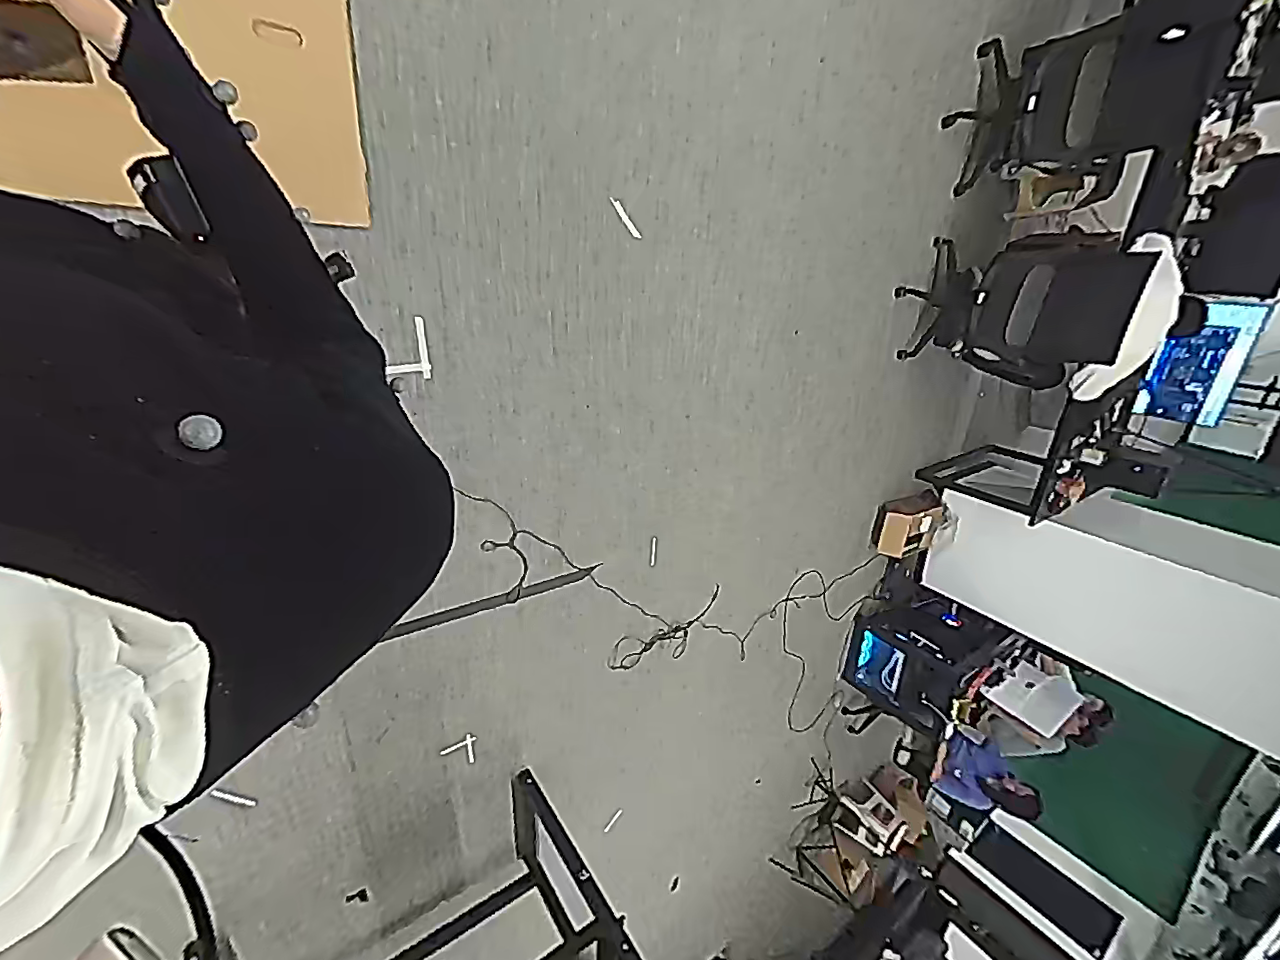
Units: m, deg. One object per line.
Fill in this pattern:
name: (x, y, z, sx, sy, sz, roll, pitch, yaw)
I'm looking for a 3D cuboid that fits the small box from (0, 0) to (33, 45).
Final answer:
small box: (-1.102, -0.814, 0.842, 0.179, 0.176, 0.168, -11, 116, -34)
